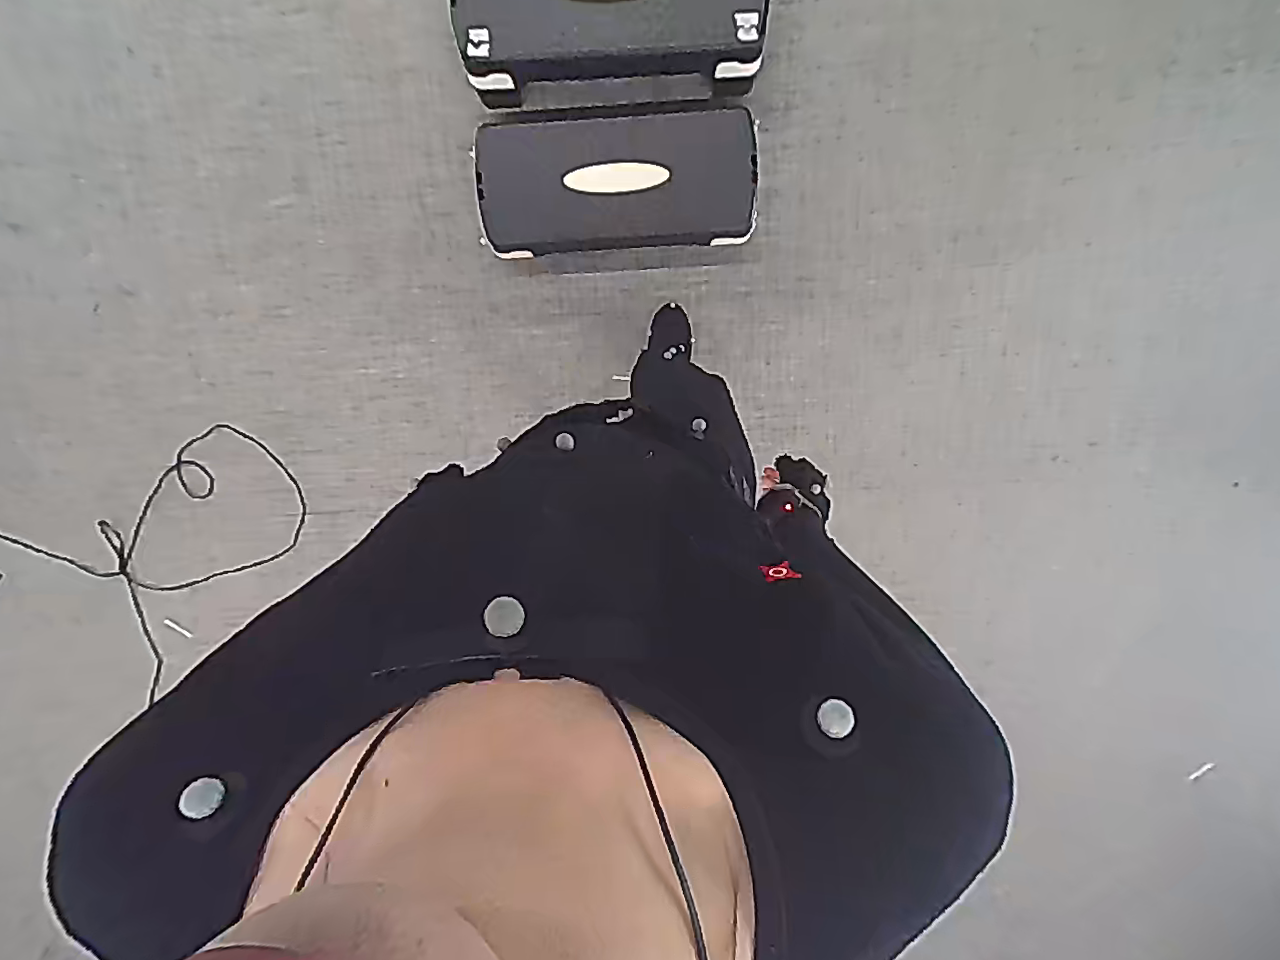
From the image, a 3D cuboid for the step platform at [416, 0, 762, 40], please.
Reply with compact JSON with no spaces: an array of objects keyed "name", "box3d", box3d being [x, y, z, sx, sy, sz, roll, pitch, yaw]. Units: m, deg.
[{"name":"step platform","box3d":[-0.093,-1.016,0.976,0.684,0.204,0.286,-3,102,1]}]
